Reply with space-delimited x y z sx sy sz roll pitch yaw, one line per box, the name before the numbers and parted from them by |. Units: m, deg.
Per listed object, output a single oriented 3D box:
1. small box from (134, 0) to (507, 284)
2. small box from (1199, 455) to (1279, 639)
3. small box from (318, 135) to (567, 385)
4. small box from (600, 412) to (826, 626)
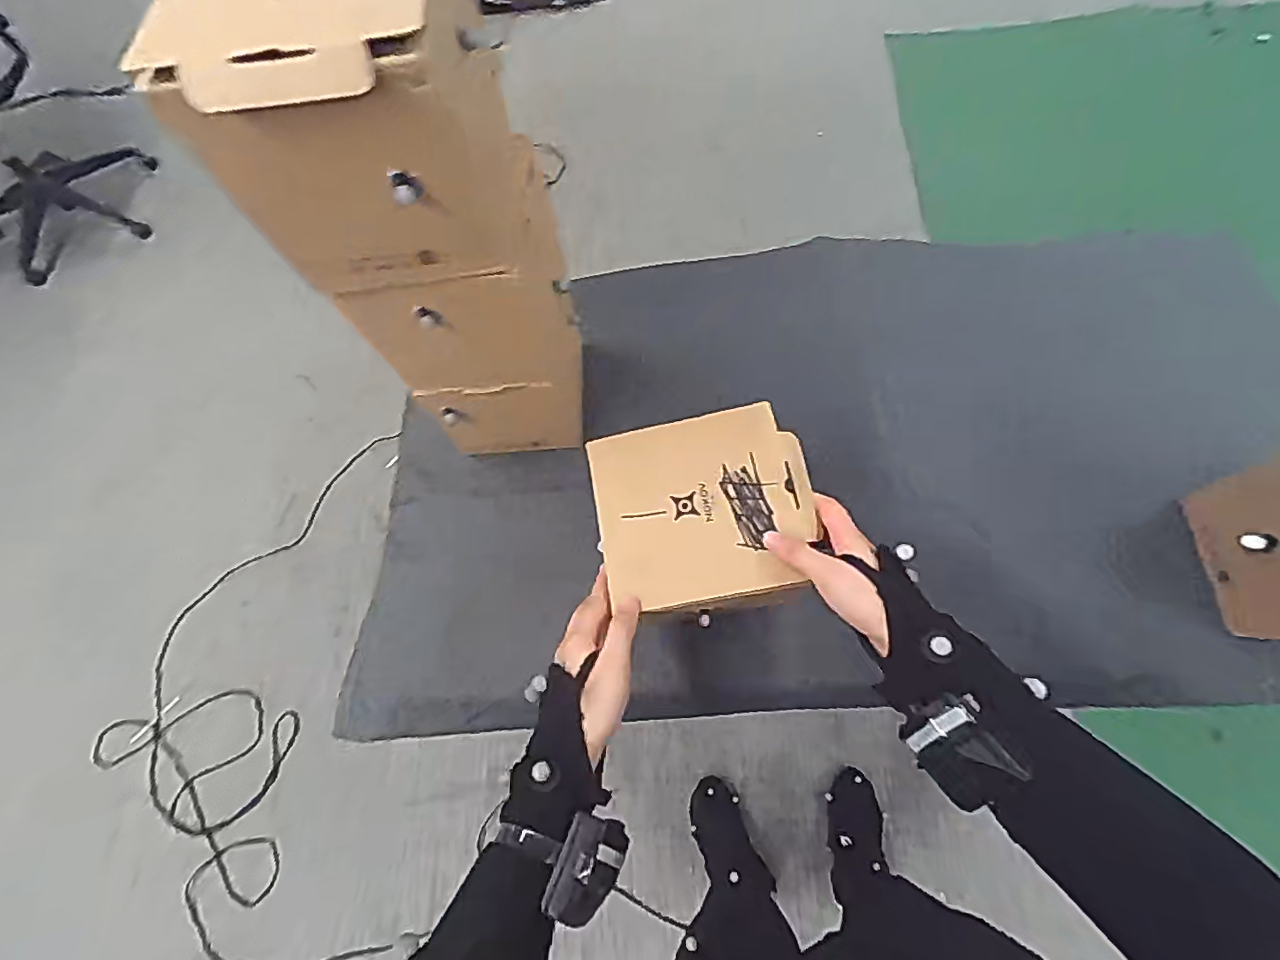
small box | -0.201 -0.266 0.400 0.168 0.176 0.179 -6 68 1
small box | 0.722 0.066 0.535 0.179 0.176 0.168 2 66 7
small box | -0.180 -0.208 0.550 0.179 0.176 0.168 -3 70 4
small box | 0.065 0.051 0.549 0.179 0.176 0.168 -10 71 3
